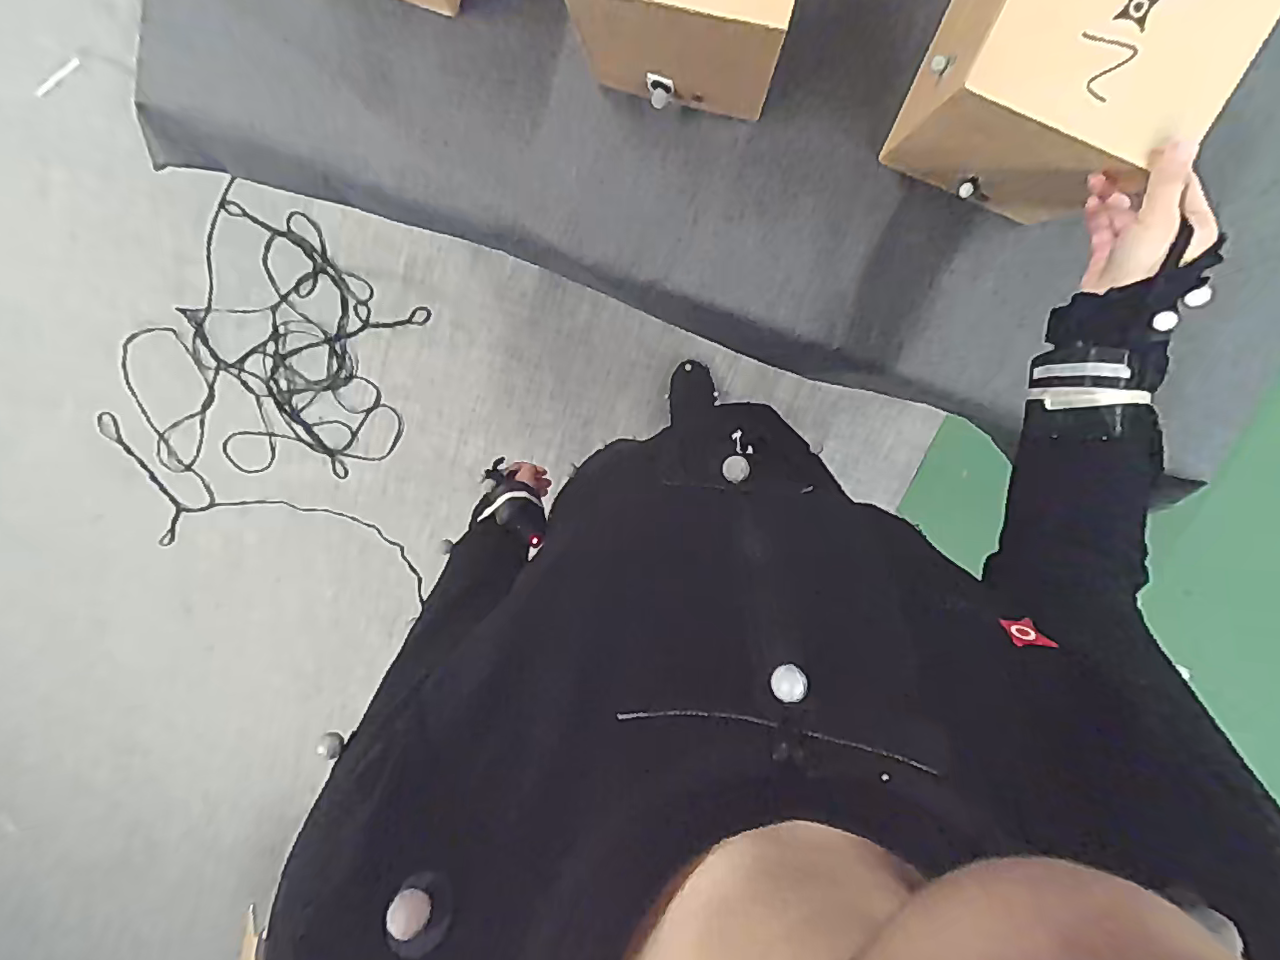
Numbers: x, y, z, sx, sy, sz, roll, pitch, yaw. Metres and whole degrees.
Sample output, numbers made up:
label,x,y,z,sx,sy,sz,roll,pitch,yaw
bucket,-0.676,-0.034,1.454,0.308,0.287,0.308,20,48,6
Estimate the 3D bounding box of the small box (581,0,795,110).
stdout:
label,x,y,z,sx,sy,sz,roll,pitch,yaw
small box,0.047,-0.430,0.419,0.168,0.176,0.179,12,106,3
